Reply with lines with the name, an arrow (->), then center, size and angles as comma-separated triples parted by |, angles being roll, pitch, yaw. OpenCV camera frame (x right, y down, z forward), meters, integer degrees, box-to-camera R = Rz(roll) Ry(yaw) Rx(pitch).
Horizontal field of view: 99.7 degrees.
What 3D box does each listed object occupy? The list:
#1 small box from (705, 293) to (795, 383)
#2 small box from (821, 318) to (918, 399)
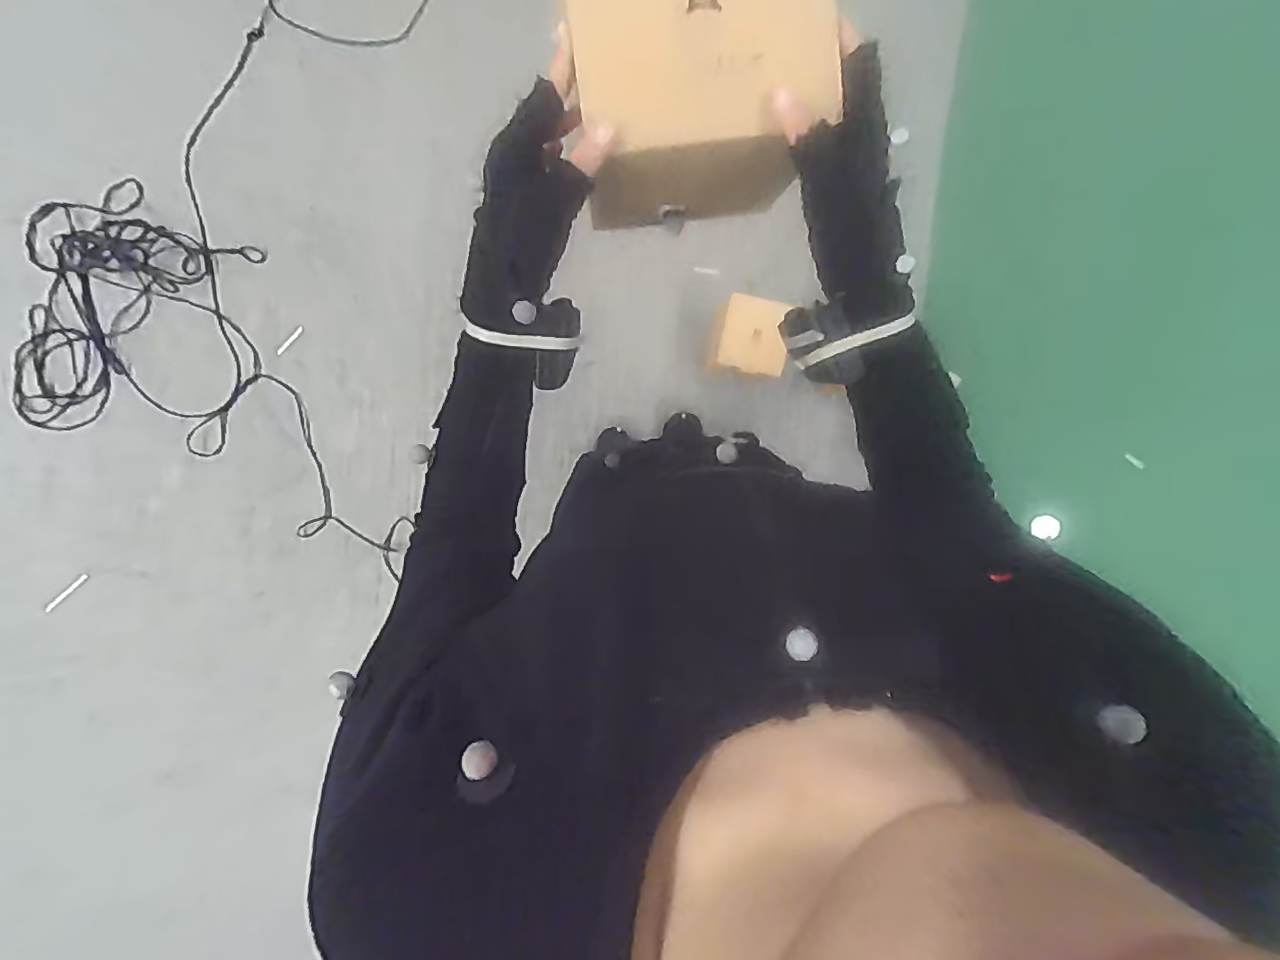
small box -> 0.273, -0.353, 1.380 | 0.168, 0.176, 0.179 | 11, 95, -5
small box -> 0.587, -0.308, 1.407 | 0.168, 0.176, 0.179 | 6, 94, -5
